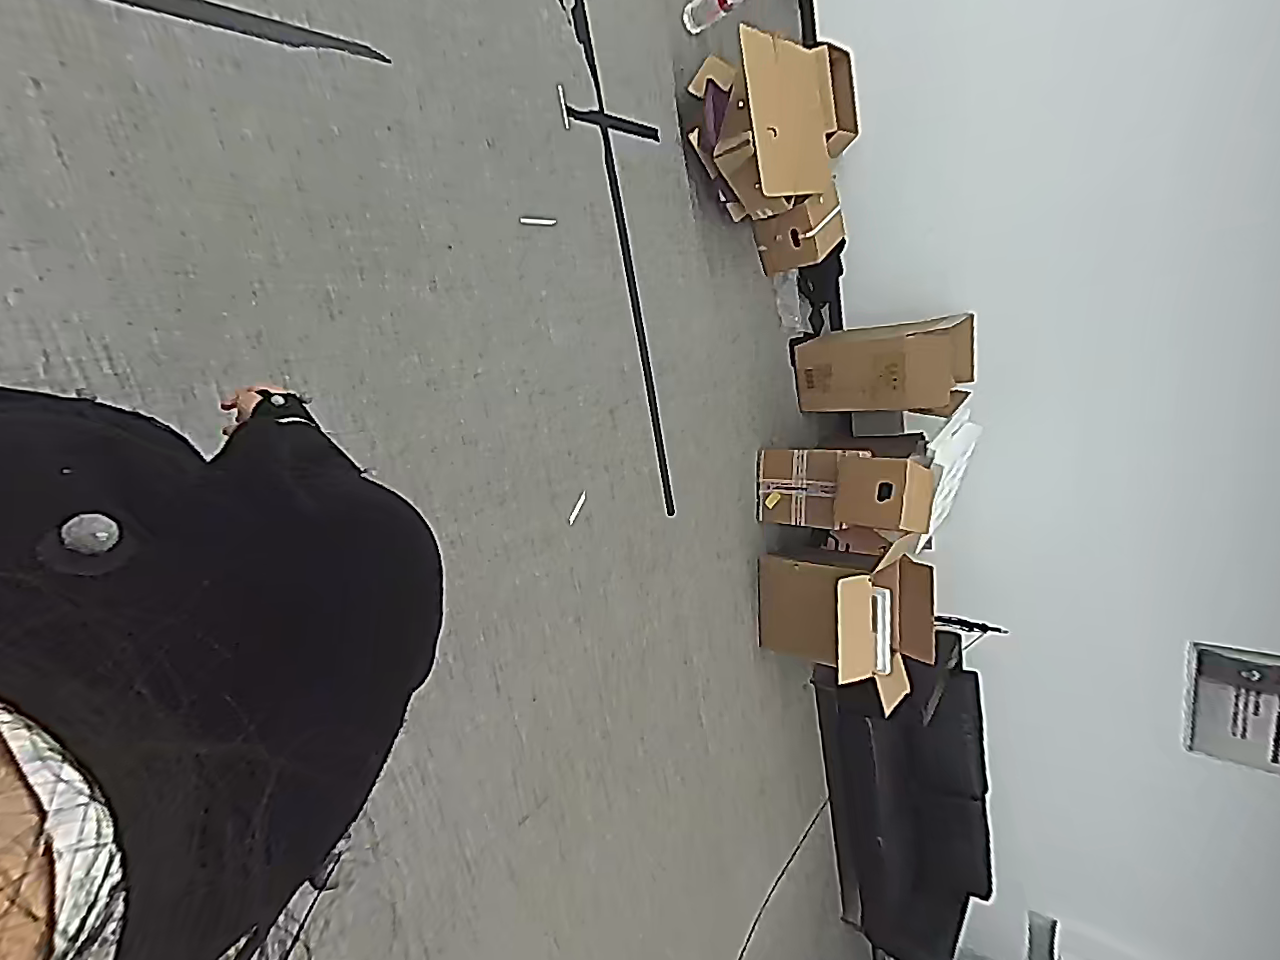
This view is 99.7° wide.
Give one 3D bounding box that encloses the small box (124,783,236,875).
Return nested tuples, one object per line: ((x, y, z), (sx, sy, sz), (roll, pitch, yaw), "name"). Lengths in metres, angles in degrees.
((-0.955, 0.780, 1.148), (0.168, 0.176, 0.179), (-23, 108, -45), "small box")

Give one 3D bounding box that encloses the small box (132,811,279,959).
((-0.833, 0.789, 1.035), (0.179, 0.176, 0.168), (-23, 110, -45), "small box")
